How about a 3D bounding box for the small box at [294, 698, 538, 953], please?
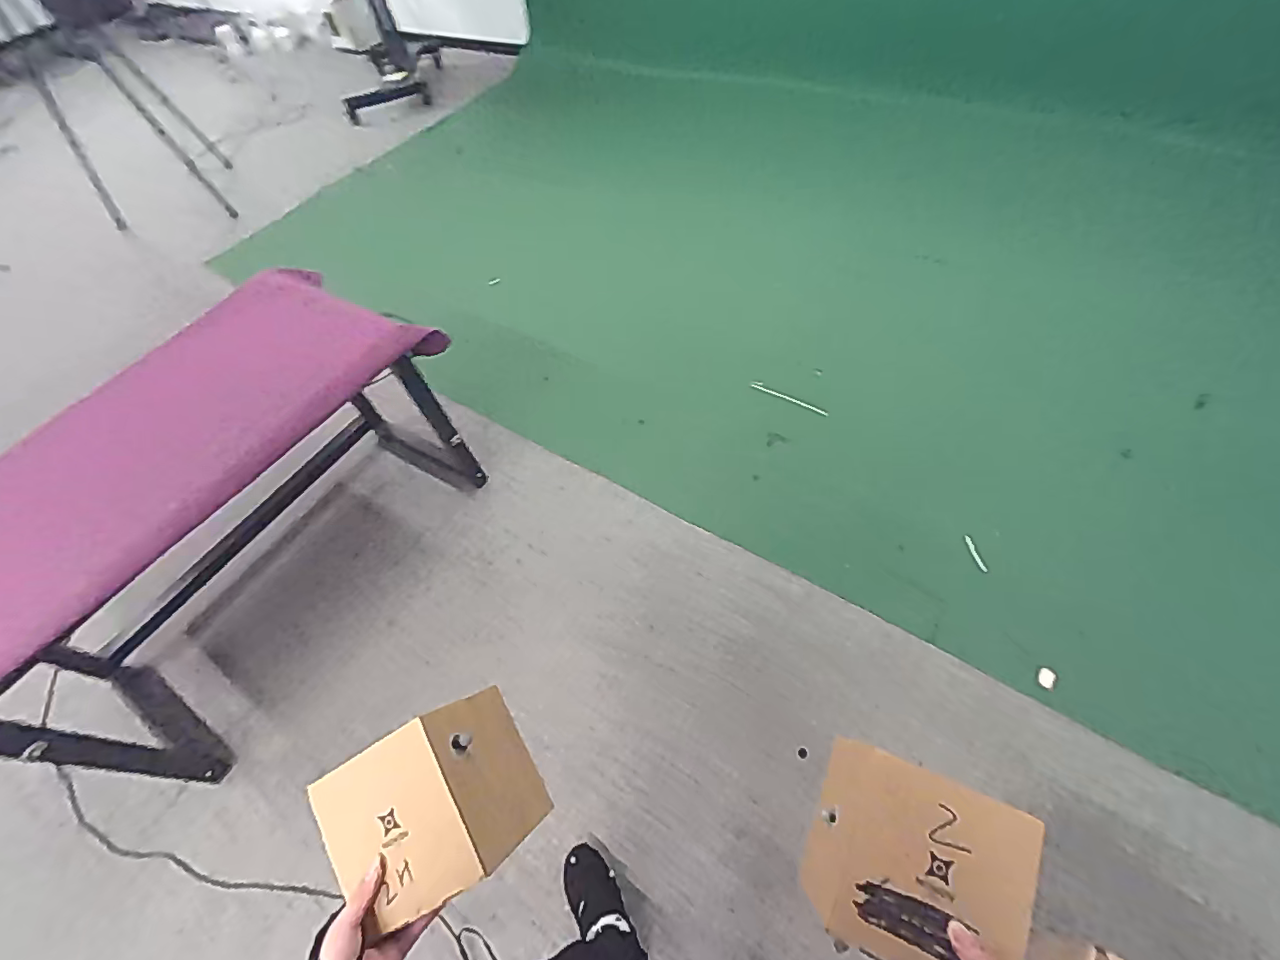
[{"bbox_3d":[-0.251,0.379,0.637,0.168,0.176,0.179,-33,75,7],"label":"small box"}]
